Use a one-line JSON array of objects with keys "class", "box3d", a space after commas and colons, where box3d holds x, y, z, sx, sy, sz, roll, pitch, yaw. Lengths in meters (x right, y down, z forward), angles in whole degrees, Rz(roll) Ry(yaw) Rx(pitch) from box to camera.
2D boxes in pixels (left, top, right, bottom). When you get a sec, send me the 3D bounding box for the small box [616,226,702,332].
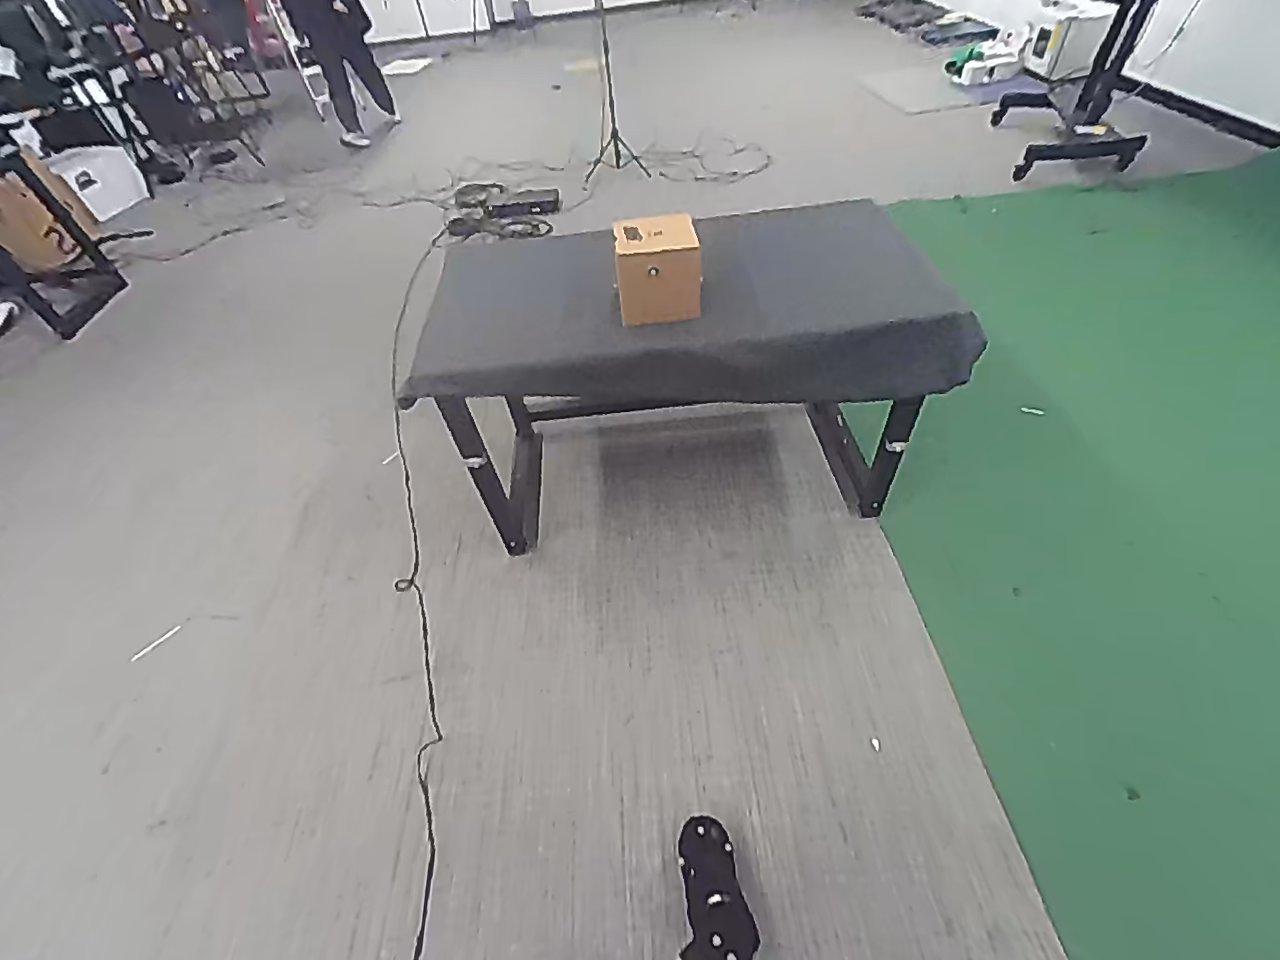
[{"class": "small box", "box3d": [0.045, -0.451, 1.226, 0.179, 0.176, 0.168, -6, 47, 0]}]
